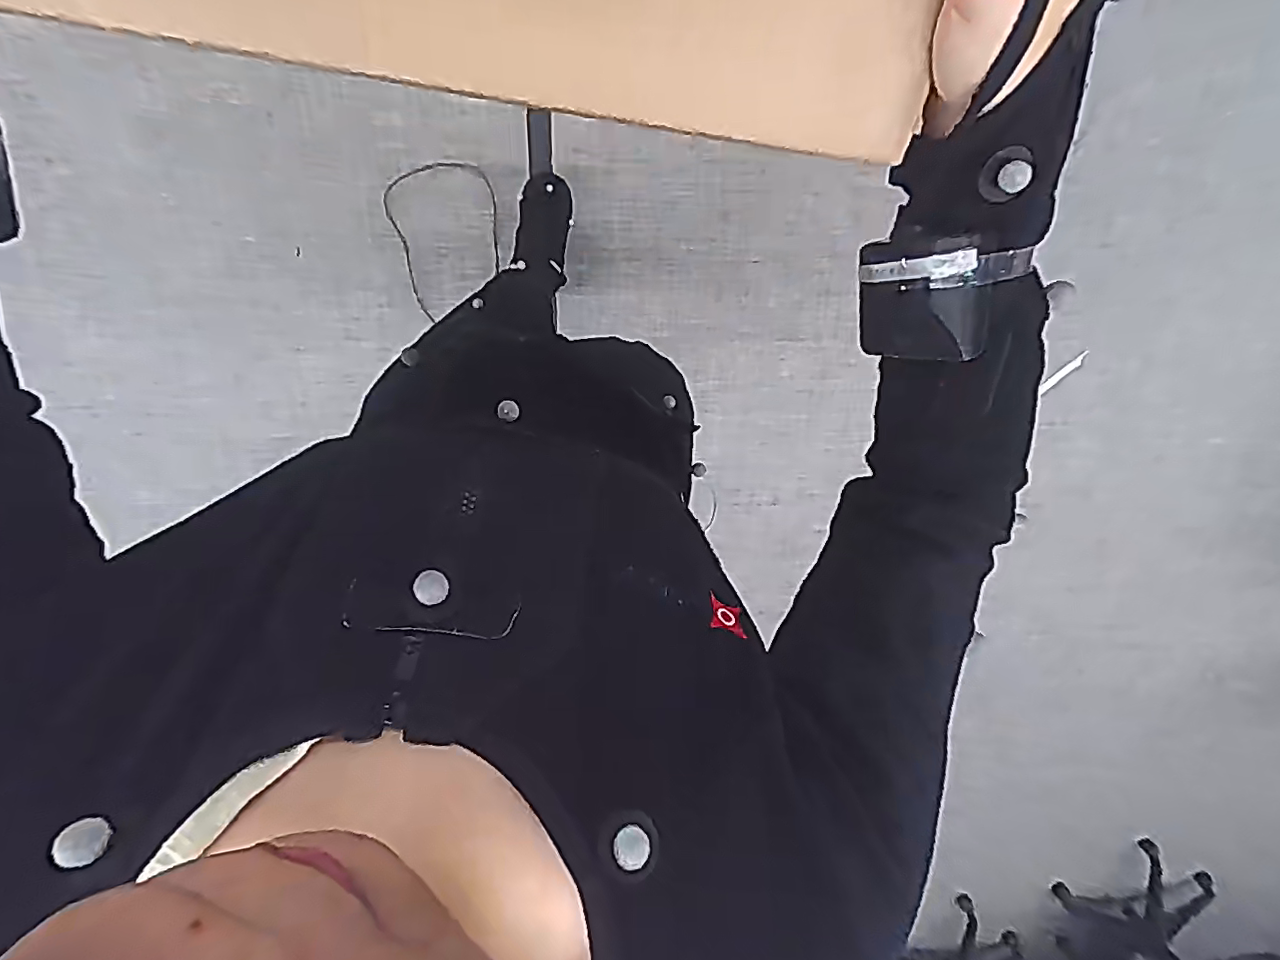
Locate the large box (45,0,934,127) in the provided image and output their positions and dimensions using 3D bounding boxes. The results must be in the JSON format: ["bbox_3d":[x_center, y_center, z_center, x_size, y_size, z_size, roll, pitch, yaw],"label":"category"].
[{"bbox_3d":[-0.064,-0.393,0.271,0.408,0.320,0.320,5,126,-8],"label":"large box"}]
